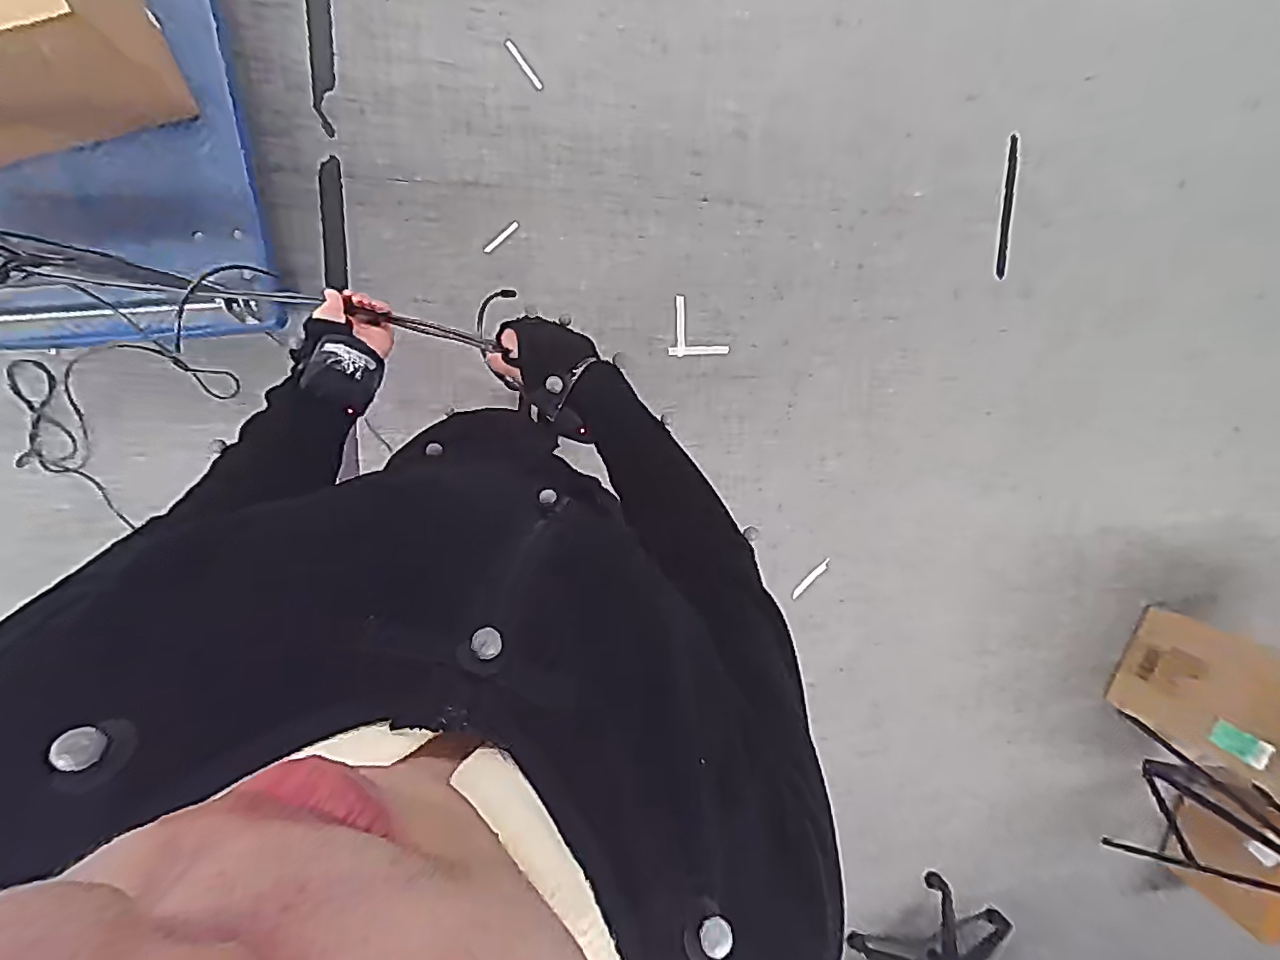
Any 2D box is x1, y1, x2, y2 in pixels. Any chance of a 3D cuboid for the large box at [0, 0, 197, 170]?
[{"bbox_3d":[-1.053,-0.749,0.846,0.408,0.320,0.320,-21,104,-7],"label":"large box"}]
